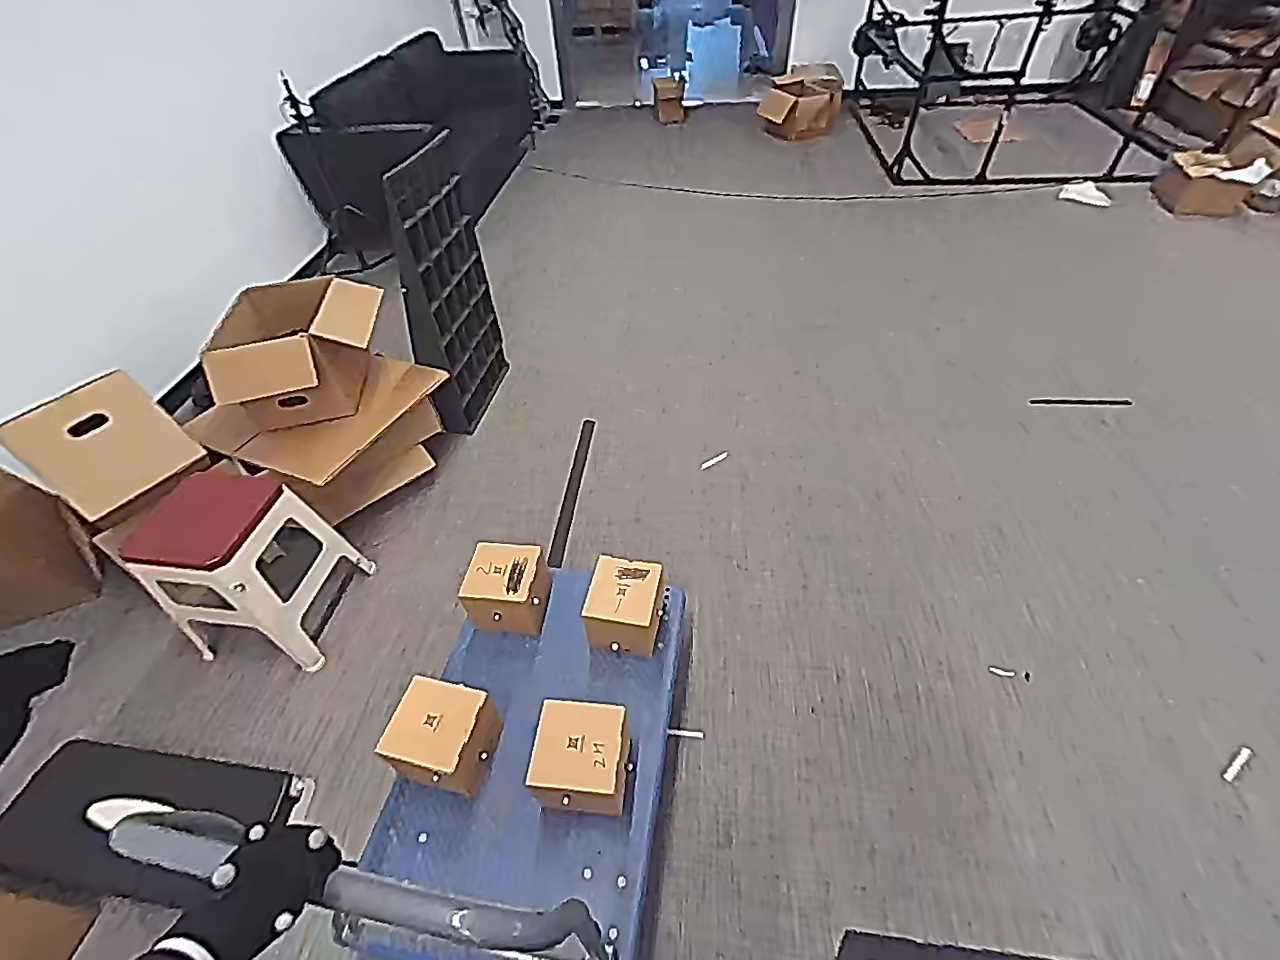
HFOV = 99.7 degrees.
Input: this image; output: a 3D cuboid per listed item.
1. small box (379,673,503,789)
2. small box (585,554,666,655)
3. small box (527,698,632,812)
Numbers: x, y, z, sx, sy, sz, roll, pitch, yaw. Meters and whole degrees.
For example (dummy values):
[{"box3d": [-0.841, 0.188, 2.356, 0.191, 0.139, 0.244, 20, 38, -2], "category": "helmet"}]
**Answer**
[{"box3d": [-0.421, 0.549, 1.176, 0.179, 0.176, 0.168, 10, 48, 10], "category": "small box"}, {"box3d": [-0.030, 0.316, 1.368, 0.168, 0.176, 0.179, 7, 49, 11], "category": "small box"}, {"box3d": [-0.117, 0.576, 1.130, 0.179, 0.176, 0.168, 3, 47, 7], "category": "small box"}]
